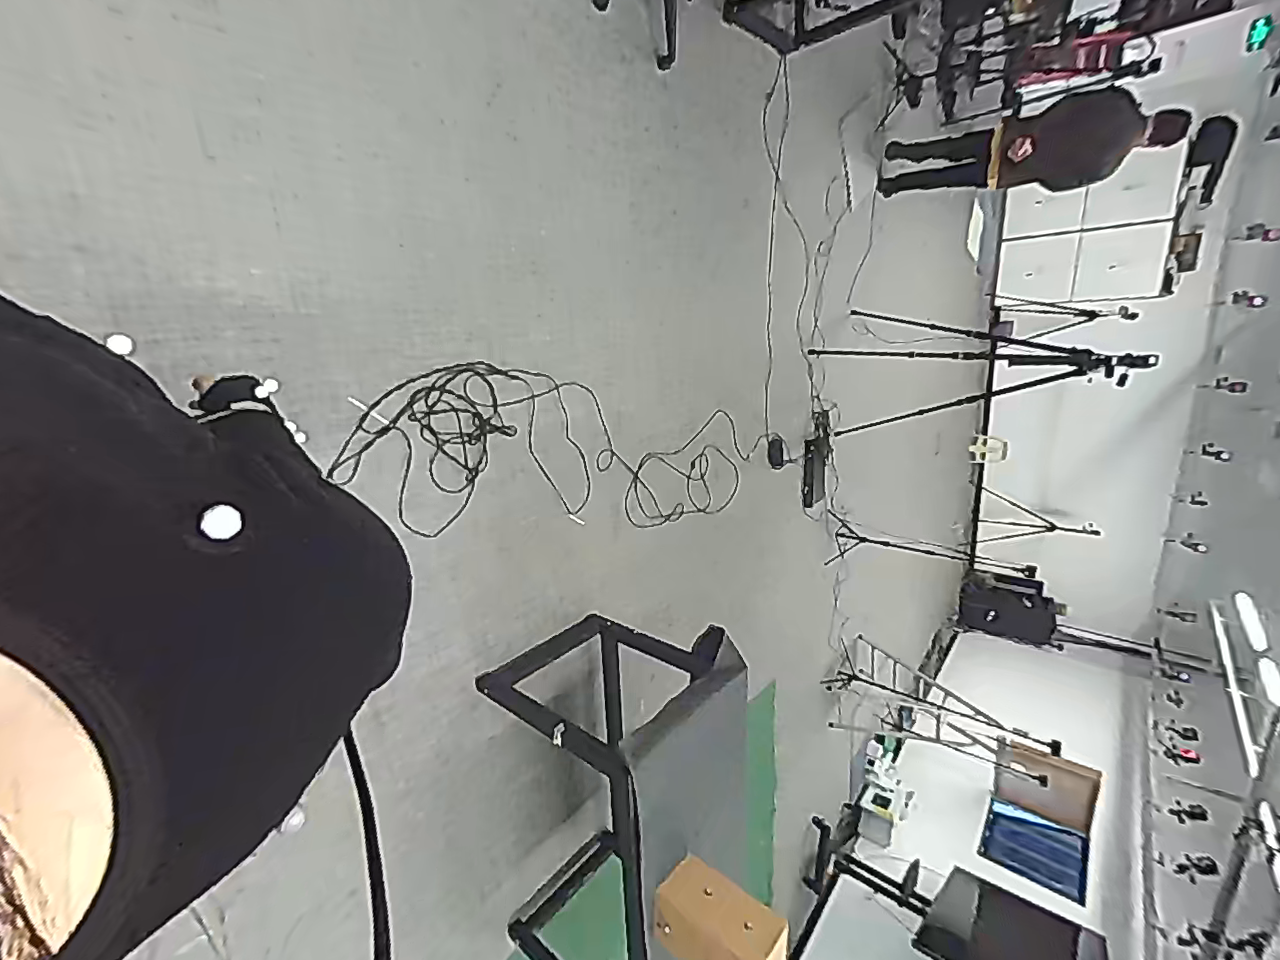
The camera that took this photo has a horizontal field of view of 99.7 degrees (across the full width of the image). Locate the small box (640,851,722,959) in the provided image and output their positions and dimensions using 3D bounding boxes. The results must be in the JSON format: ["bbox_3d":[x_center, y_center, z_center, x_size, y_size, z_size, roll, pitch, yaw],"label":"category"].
[{"bbox_3d":[0.120,1.245,1.583,0.179,0.176,0.168,-12,107,-49],"label":"small box"}]
